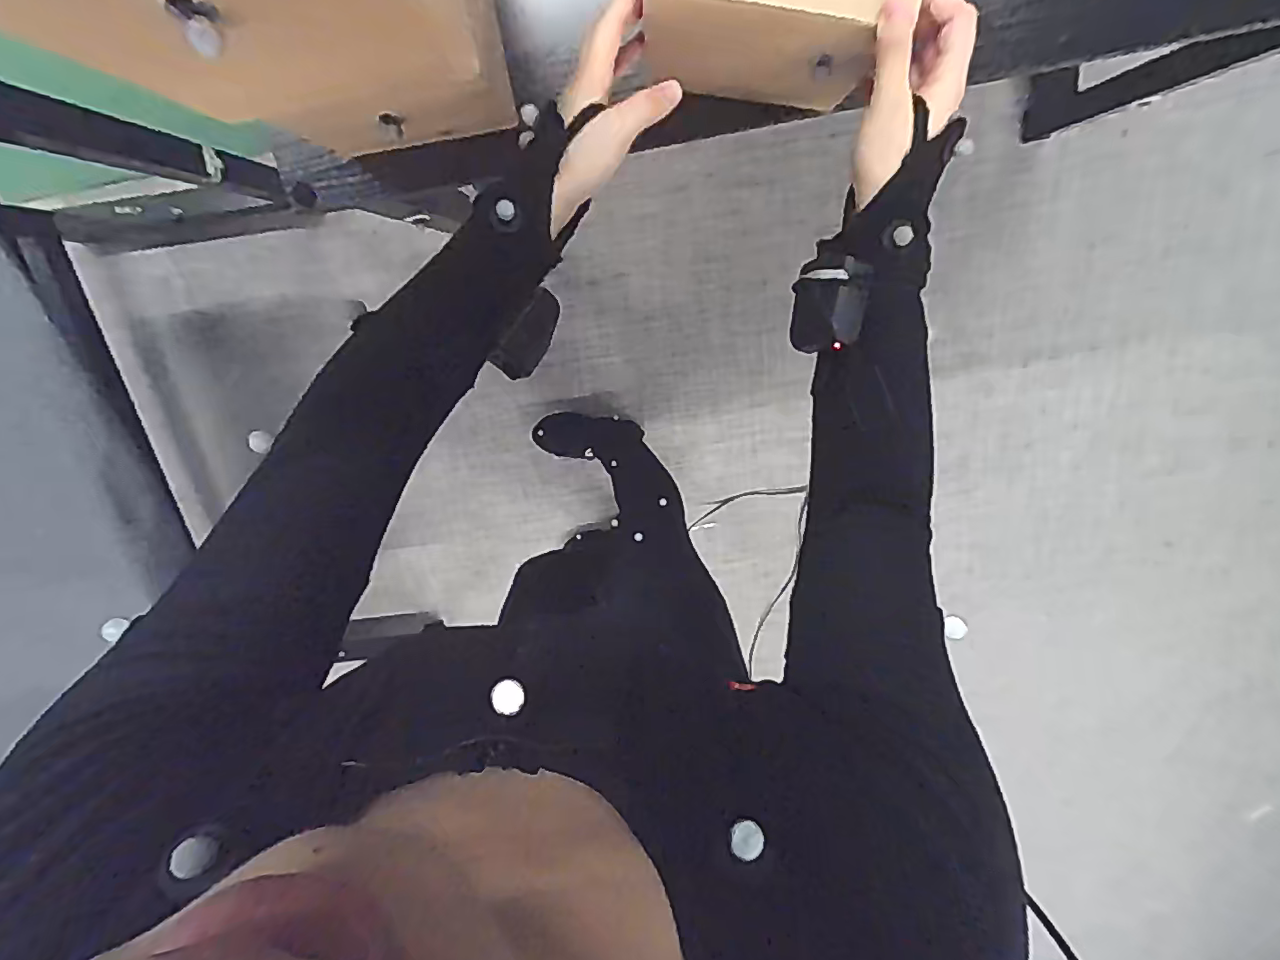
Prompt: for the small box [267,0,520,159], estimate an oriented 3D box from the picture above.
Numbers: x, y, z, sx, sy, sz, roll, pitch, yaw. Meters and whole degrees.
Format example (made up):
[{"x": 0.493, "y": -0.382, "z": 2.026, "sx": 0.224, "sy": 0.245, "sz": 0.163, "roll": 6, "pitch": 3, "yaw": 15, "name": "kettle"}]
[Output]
[{"x": -0.199, "y": -0.359, "z": 0.402, "sx": 0.168, "sy": 0.176, "sz": 0.179, "roll": -9, "pitch": 108, "yaw": 2, "name": "small box"}]
